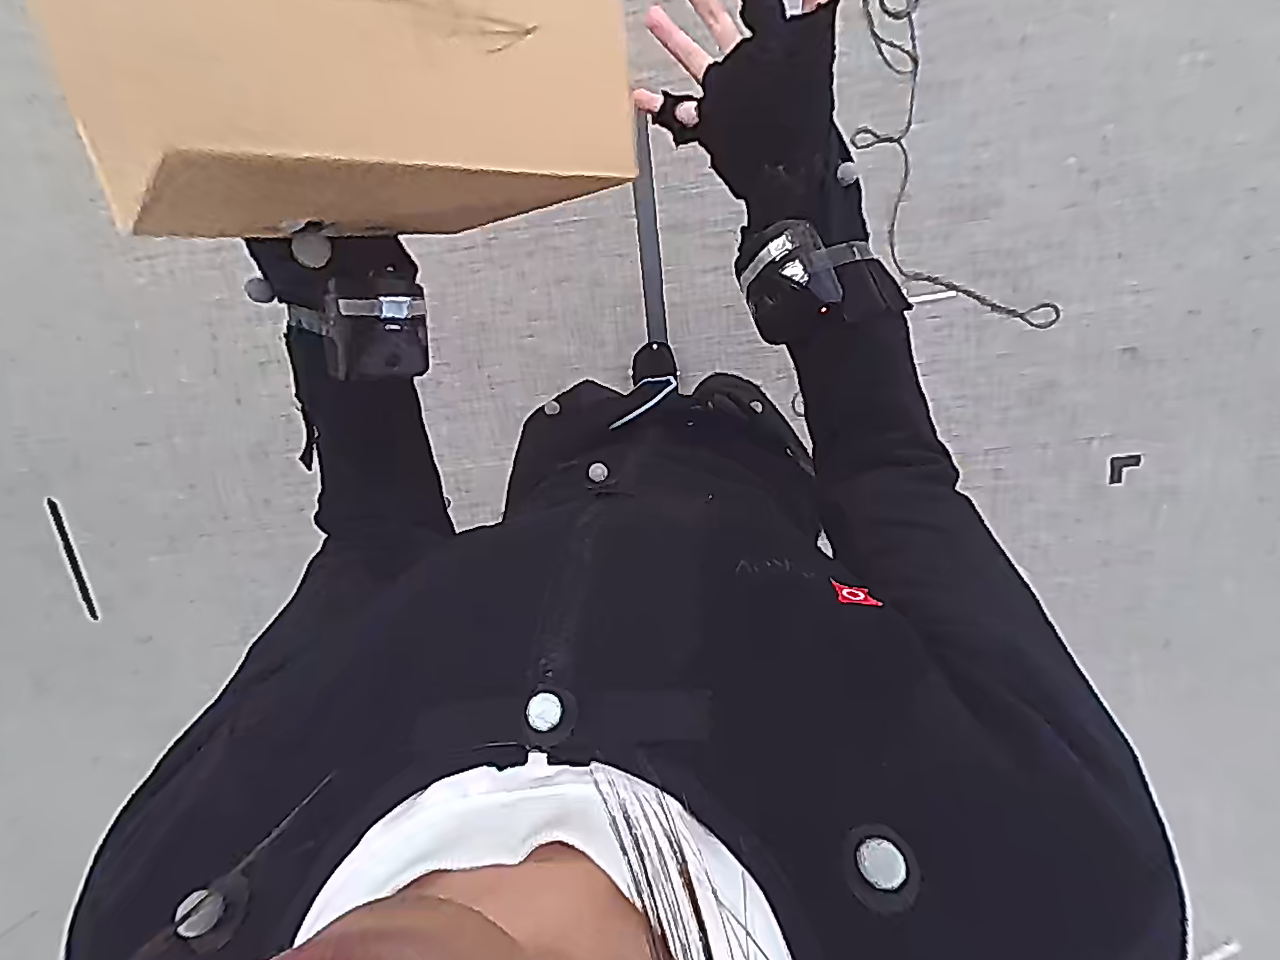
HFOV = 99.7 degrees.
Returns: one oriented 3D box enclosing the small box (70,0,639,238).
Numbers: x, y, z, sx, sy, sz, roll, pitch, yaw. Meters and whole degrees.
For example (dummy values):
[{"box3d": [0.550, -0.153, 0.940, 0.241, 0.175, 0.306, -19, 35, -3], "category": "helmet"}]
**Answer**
[{"box3d": [-0.123, -0.207, 0.223, 0.176, 0.168, 0.179, 13, 117, 42], "category": "small box"}]
